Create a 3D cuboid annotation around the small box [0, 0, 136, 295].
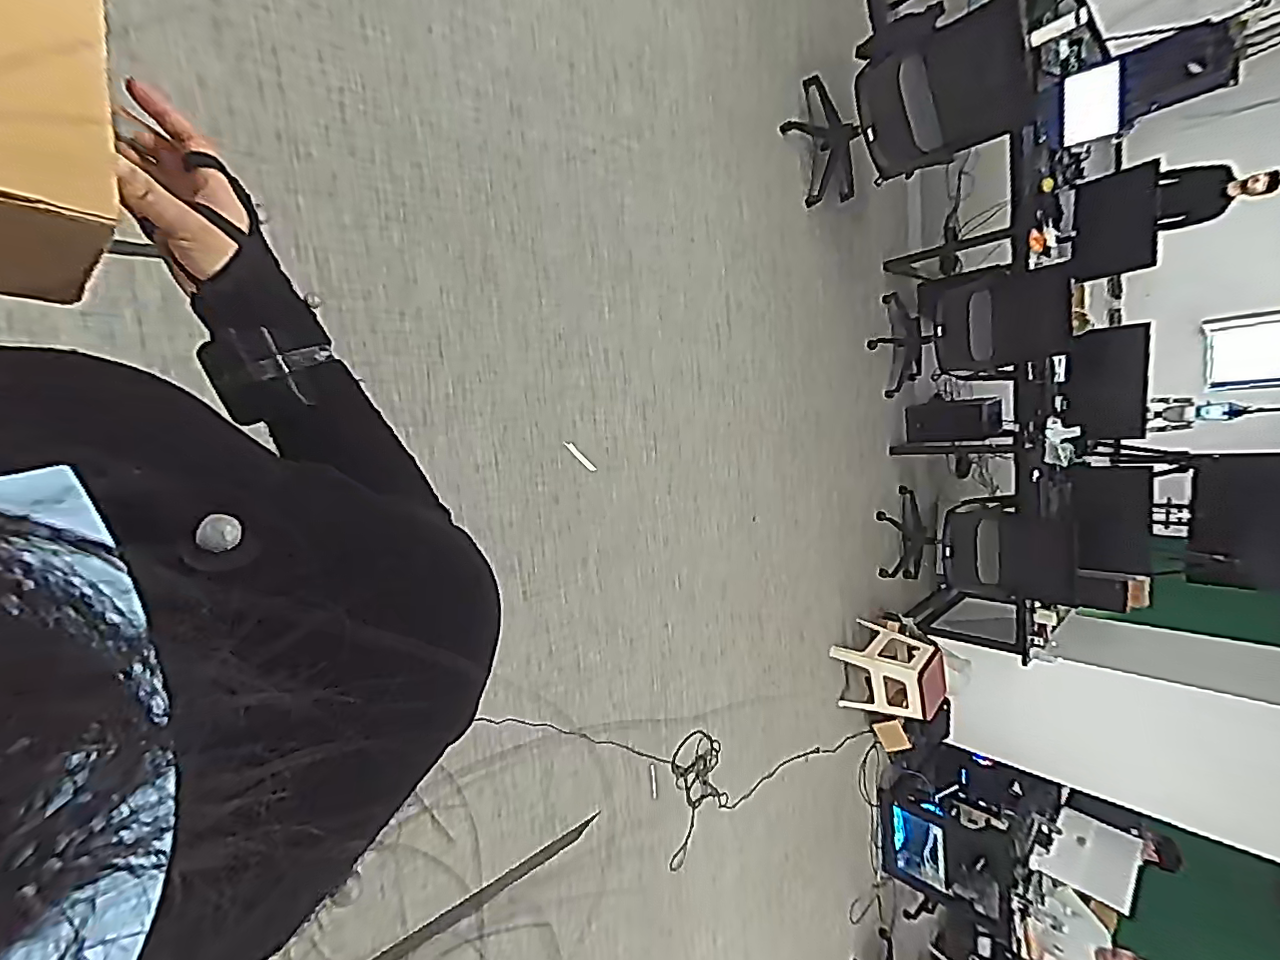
[{"bbox_3d":[-0.404,-0.221,0.288,0.168,0.176,0.179,-4,90,-53],"label":"small box"}]
